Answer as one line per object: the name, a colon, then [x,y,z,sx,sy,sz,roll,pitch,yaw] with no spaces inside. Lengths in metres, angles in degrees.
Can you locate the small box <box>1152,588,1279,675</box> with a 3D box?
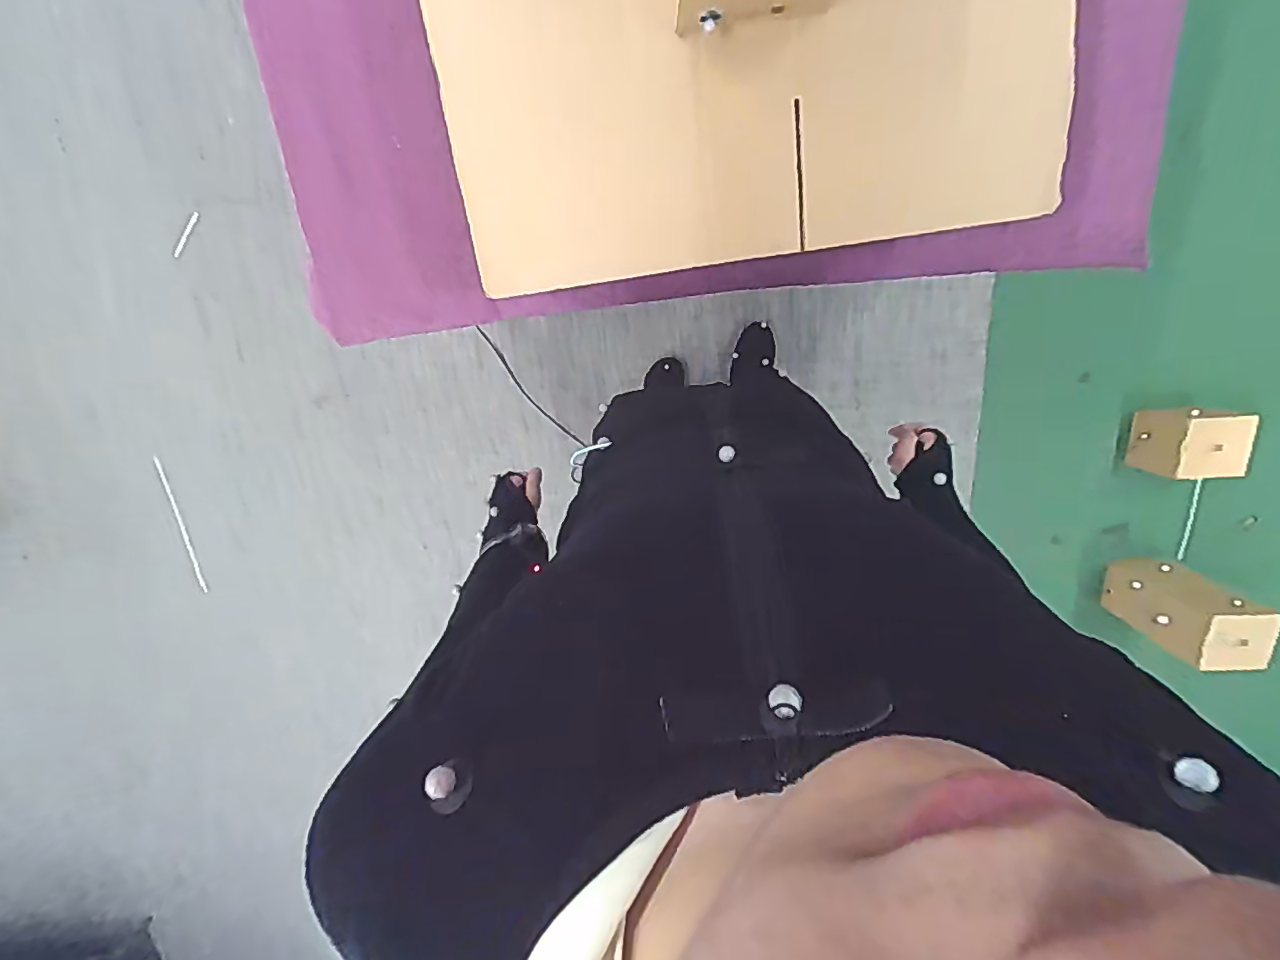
small box: [1.554,0.403,1.455,0.179,0.176,0.168,-2,106,3]

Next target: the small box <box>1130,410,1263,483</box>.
small box: [1.514,-0.097,1.483,0.179,0.176,0.168,-3,106,4]
